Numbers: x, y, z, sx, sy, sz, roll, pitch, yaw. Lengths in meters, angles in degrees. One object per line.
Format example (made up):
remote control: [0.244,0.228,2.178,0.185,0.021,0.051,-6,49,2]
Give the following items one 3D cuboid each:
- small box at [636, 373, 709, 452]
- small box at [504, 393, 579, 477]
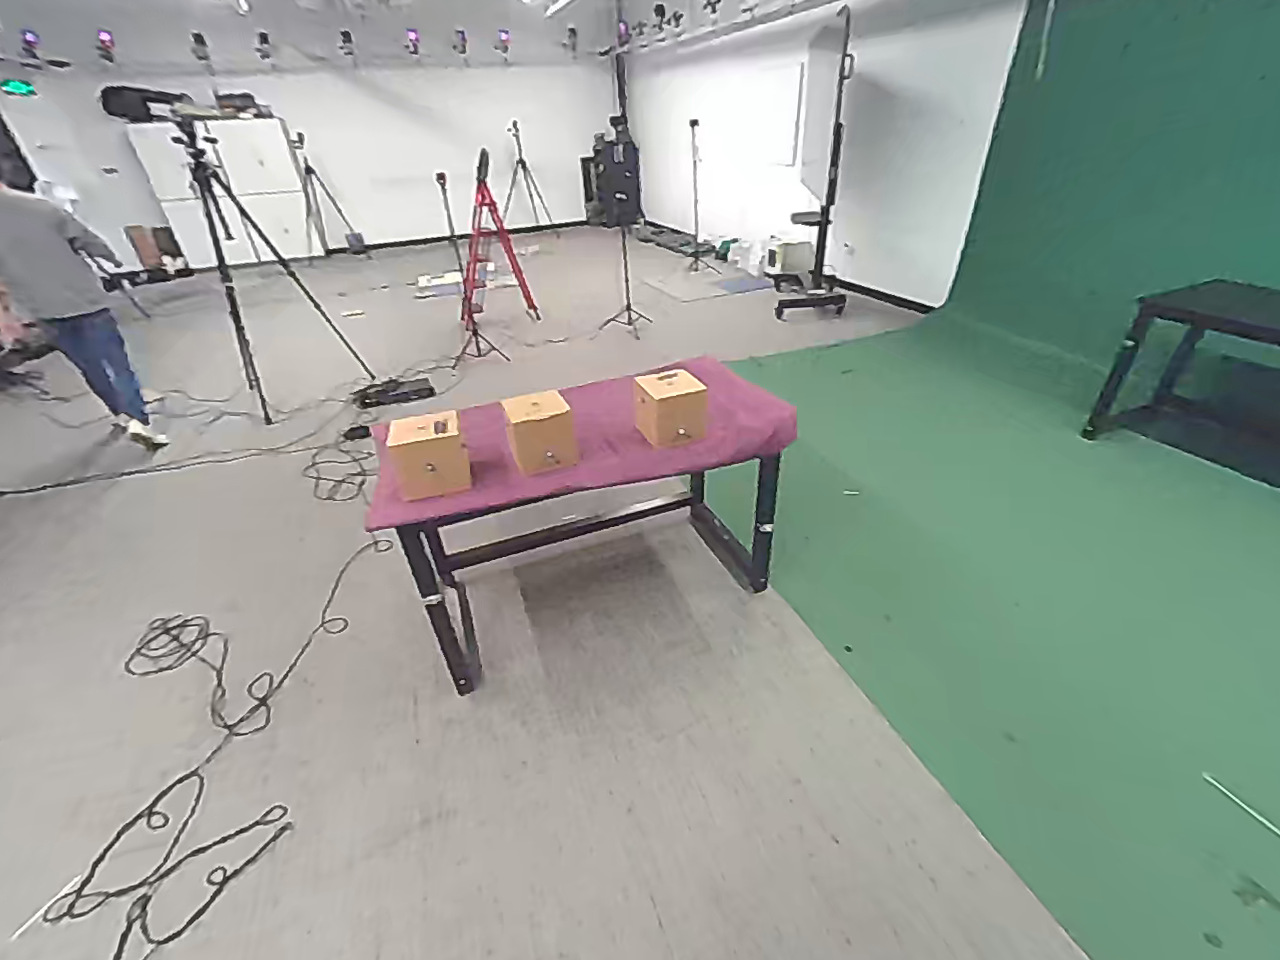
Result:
small box: [0.095,-0.206,1.639,0.168,0.176,0.179,-14,35,-16]
small box: [-0.283,-0.130,1.551,0.168,0.176,0.179,-15,33,-17]
